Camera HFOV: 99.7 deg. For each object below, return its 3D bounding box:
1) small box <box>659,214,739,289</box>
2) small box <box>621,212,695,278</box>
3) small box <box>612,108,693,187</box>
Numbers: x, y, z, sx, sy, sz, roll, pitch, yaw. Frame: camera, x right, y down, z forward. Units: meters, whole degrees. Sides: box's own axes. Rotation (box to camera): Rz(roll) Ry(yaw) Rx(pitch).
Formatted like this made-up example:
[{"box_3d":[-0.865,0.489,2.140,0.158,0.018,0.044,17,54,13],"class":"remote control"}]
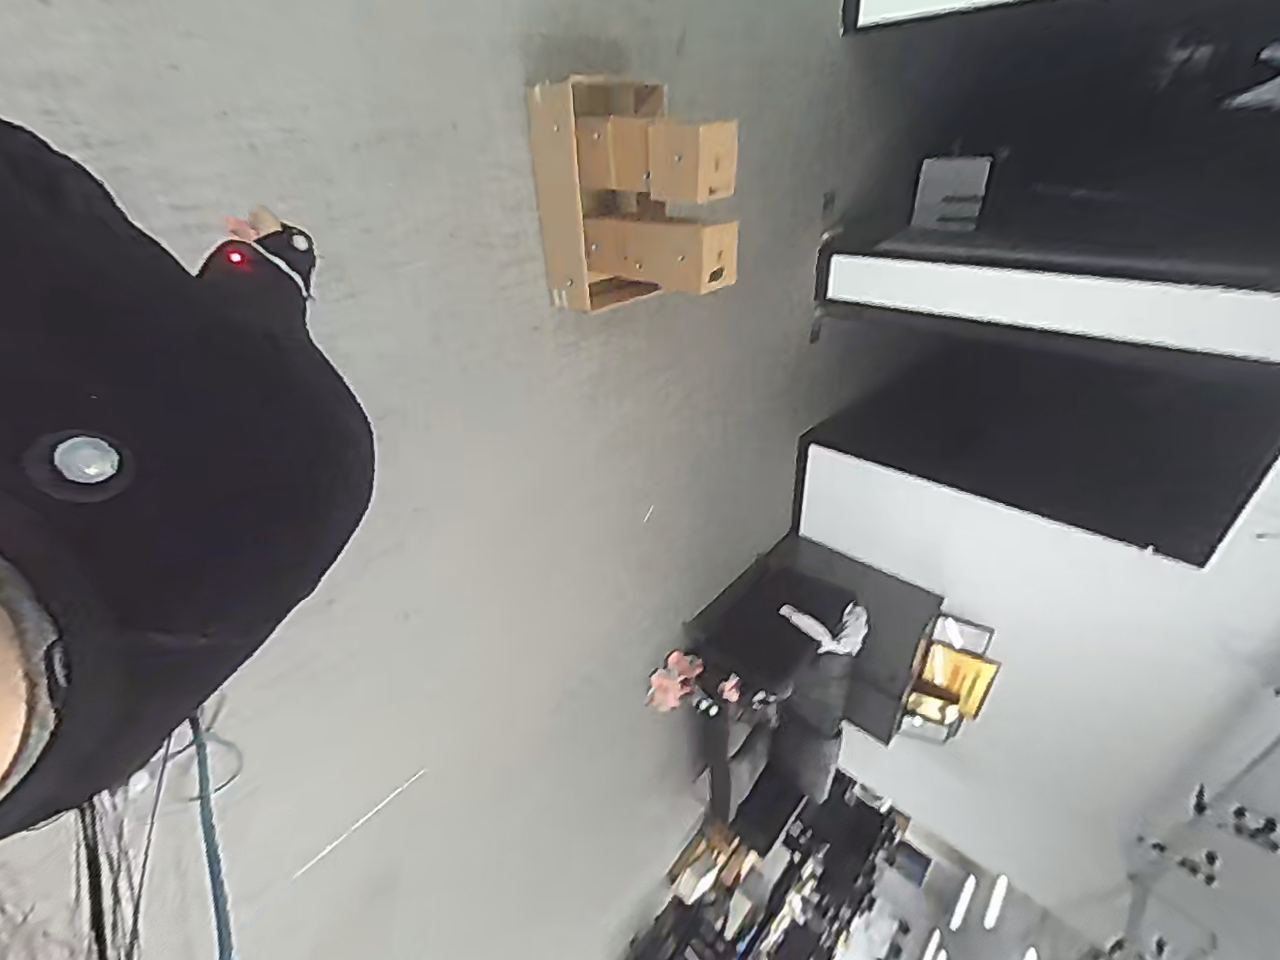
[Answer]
[{"box_3d":[0.168,-0.669,1.571,0.168,0.176,0.179,-30,129,-37],"class":"small box"},{"box_3d":[0.053,-0.730,1.671,0.179,0.176,0.168,-31,131,-36],"class":"small box"},{"box_3d":[0.035,-0.941,1.534,0.168,0.176,0.179,-33,134,-35],"class":"small box"}]
